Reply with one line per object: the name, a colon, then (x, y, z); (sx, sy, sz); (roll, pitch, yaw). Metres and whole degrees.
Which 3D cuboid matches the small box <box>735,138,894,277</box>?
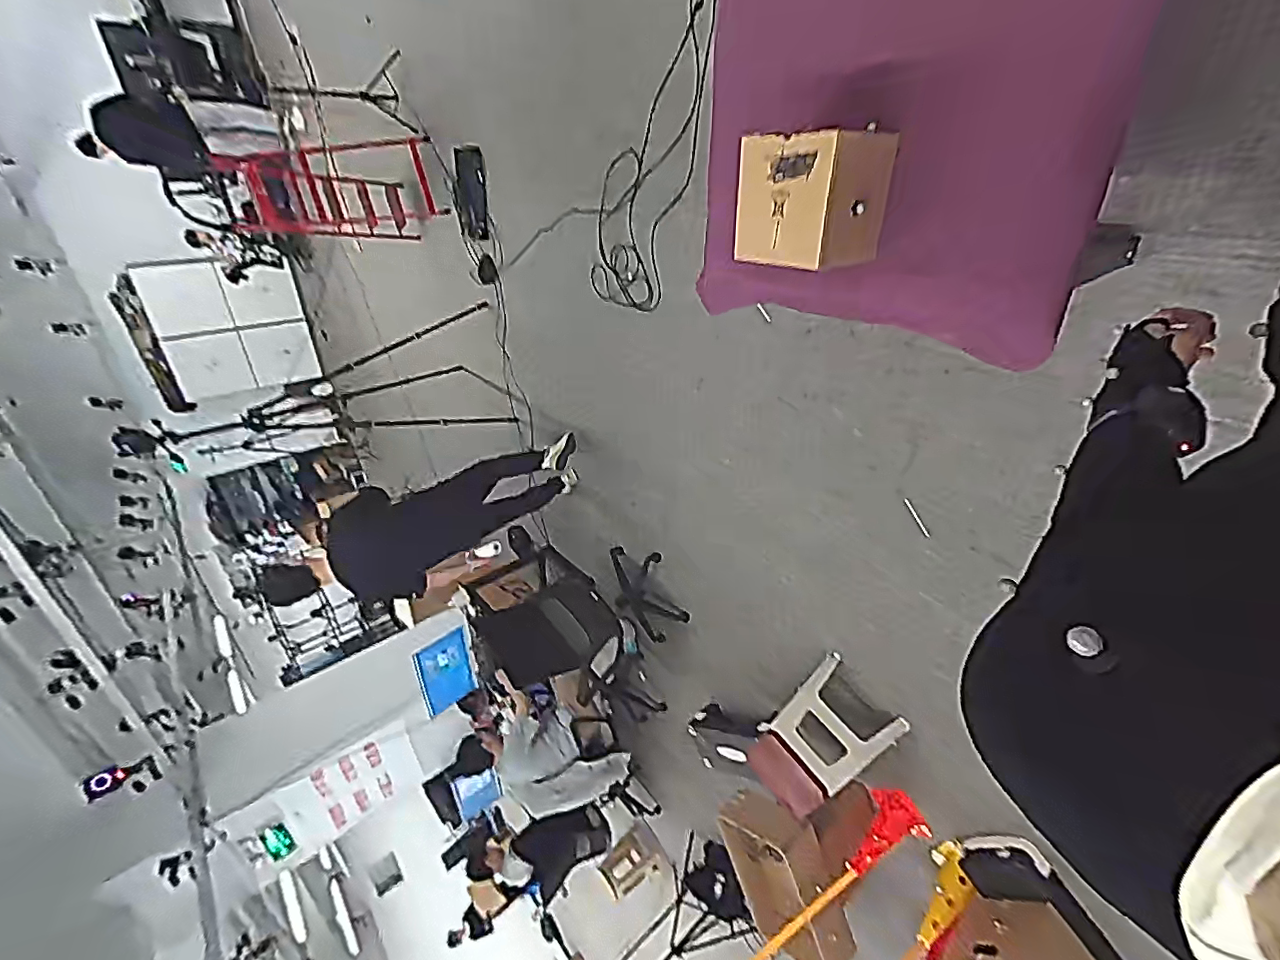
small box: (0.273, -0.431, 0.853); (0.168, 0.176, 0.179); (30, 132, 42)
